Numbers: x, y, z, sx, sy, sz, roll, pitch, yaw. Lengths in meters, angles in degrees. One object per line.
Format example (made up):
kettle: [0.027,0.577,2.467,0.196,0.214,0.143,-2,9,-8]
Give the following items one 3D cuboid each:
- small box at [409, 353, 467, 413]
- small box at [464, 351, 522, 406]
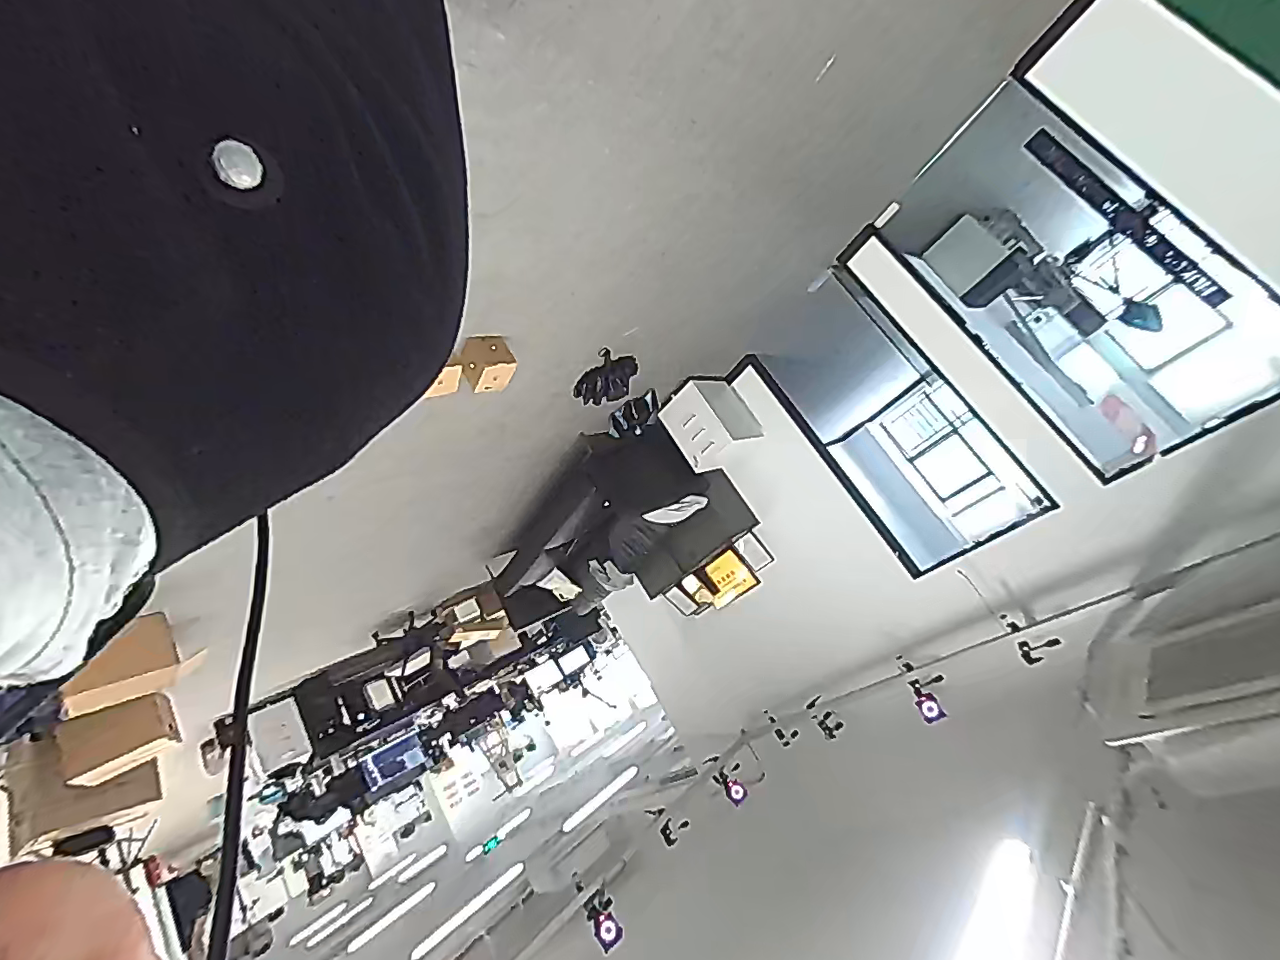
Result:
small box: [-0.836,-0.407,2.227,0.168,0.176,0.179,-20,160,-35]
small box: [-0.661,-0.459,2.408,0.168,0.176,0.179,-18,157,-43]
